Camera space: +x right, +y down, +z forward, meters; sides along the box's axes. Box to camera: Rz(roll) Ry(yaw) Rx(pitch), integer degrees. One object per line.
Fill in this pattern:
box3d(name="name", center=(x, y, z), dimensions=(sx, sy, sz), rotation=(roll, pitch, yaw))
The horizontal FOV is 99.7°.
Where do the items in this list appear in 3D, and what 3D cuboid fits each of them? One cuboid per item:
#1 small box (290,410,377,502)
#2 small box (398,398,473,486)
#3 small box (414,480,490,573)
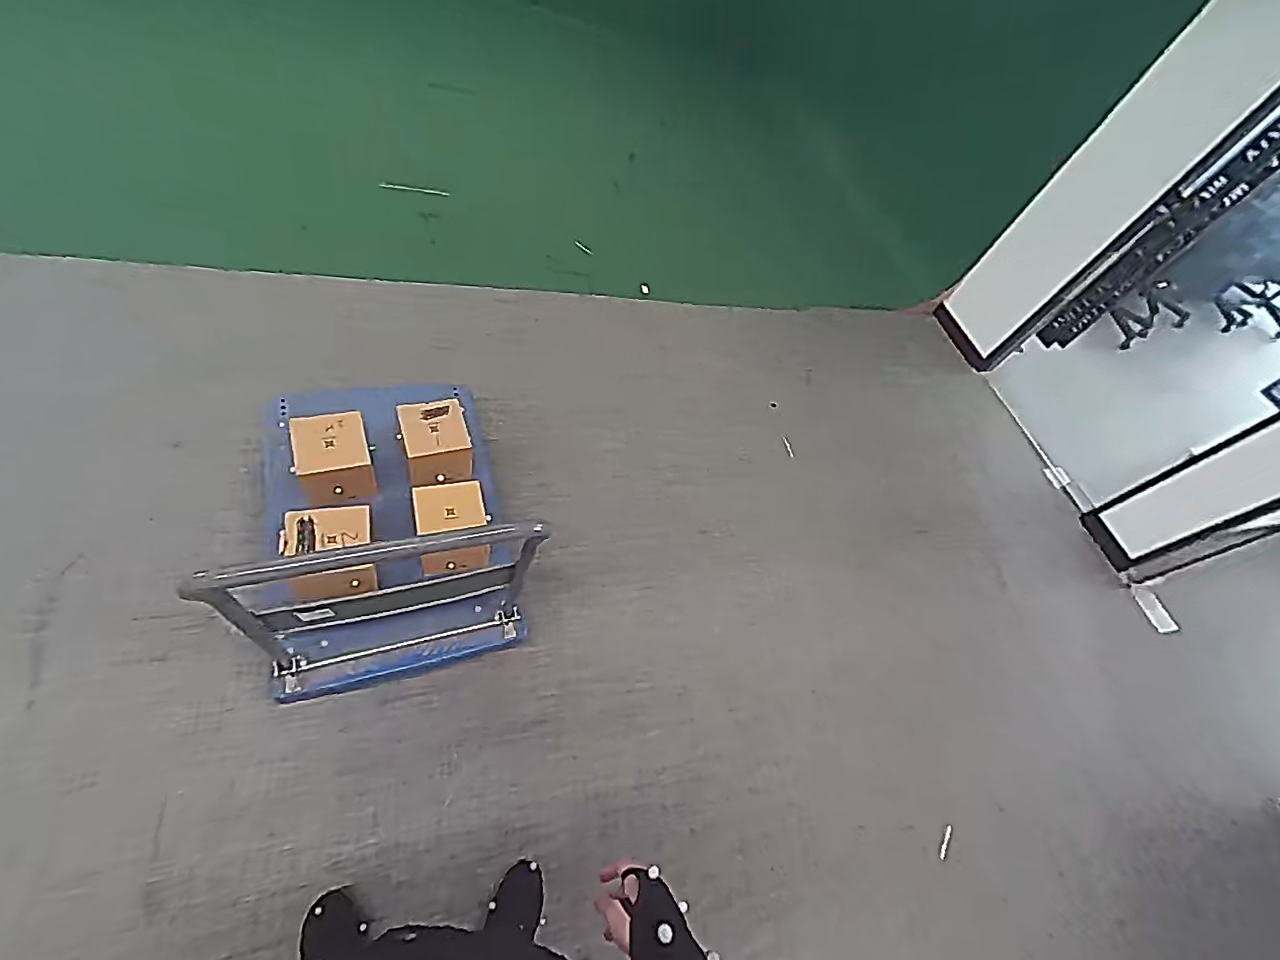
box3d(name="small box", center=(-0.801, -0.057, 1.425), dimensions=(0.168, 0.176, 0.179), rotation=(-11, 63, -25))
box3d(name="small box", center=(-0.578, -0.106, 1.531), dimensions=(0.168, 0.176, 0.179), rotation=(-12, 64, -24))
box3d(name="small box", center=(-0.493, 0.123, 1.414), dimensions=(0.168, 0.176, 0.179), rotation=(-7, 62, -23))
